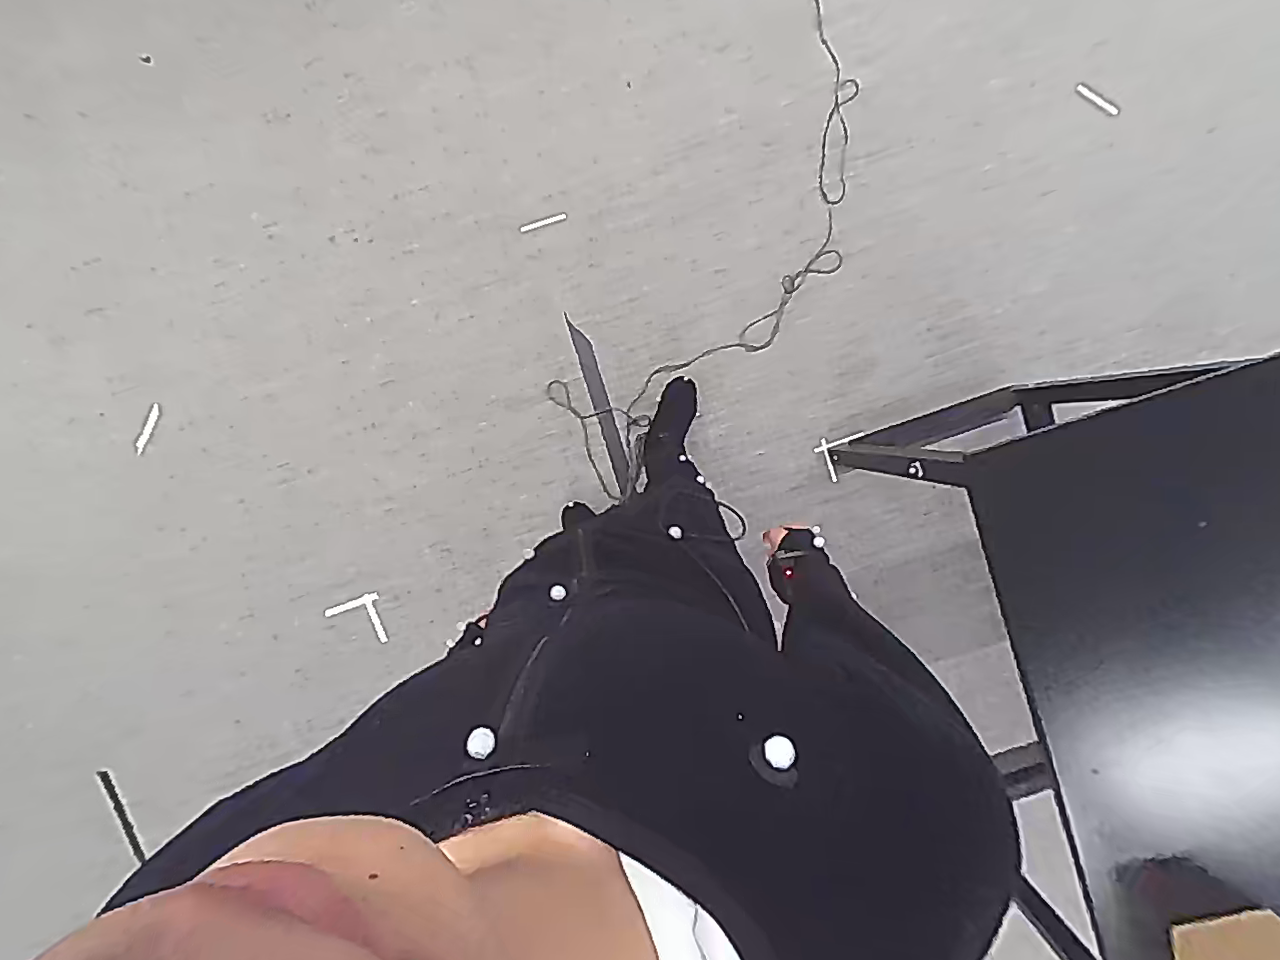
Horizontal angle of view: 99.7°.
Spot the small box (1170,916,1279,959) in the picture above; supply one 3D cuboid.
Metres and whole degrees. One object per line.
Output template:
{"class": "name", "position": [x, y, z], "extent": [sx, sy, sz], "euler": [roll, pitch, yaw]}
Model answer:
{"class": "small box", "position": [1.032, 0.860, 0.879], "extent": [0.179, 0.176, 0.168], "euler": [-11, 94, 0]}
